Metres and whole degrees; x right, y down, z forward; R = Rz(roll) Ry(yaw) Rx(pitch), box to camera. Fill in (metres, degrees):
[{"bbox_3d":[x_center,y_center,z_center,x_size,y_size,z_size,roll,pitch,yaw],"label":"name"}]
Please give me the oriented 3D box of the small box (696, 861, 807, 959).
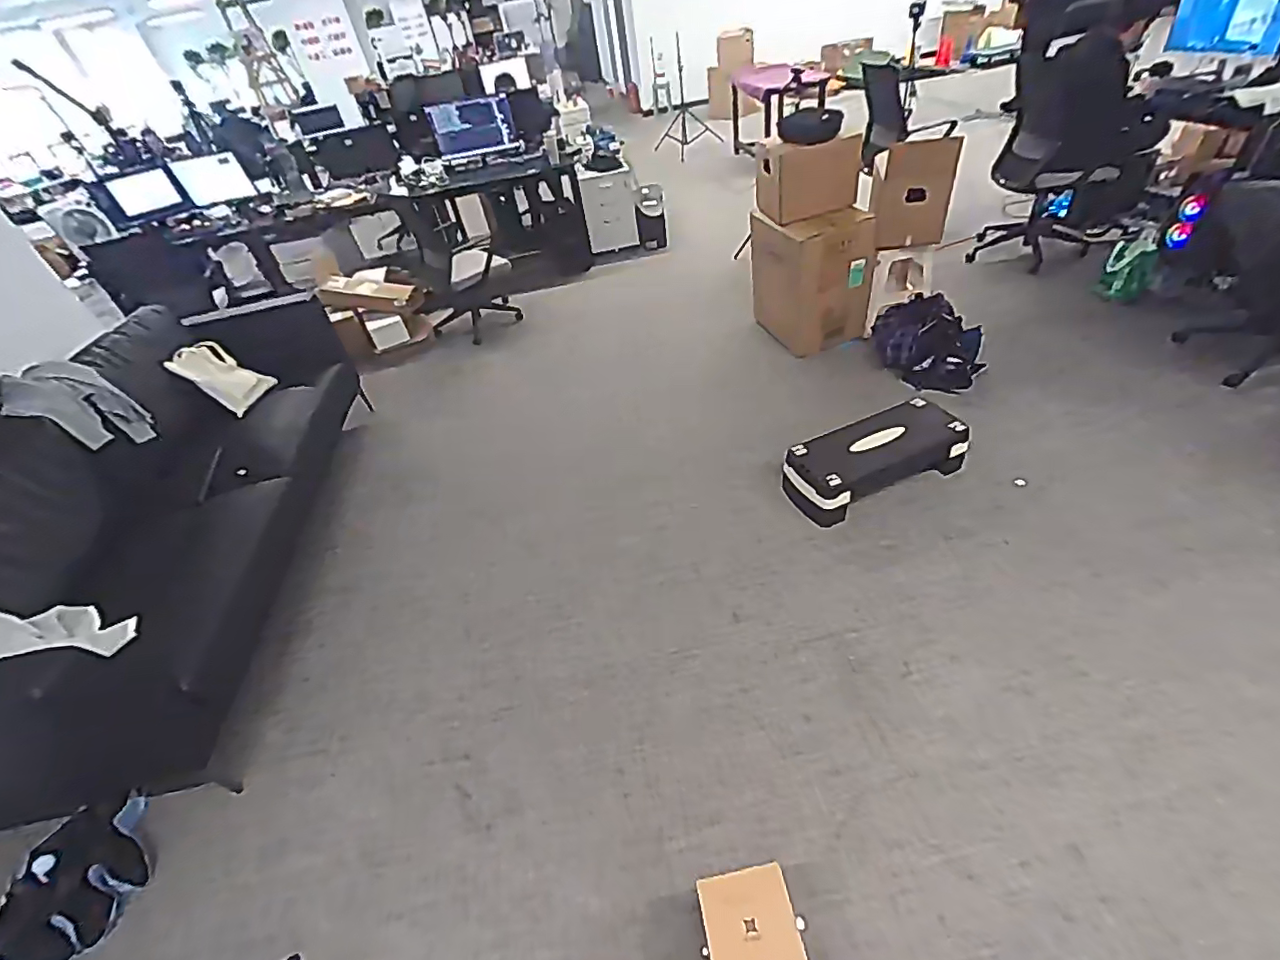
[{"bbox_3d":[0.210,0.855,1.015,0.168,0.176,0.179,-12,40,-1],"label":"small box"}]
